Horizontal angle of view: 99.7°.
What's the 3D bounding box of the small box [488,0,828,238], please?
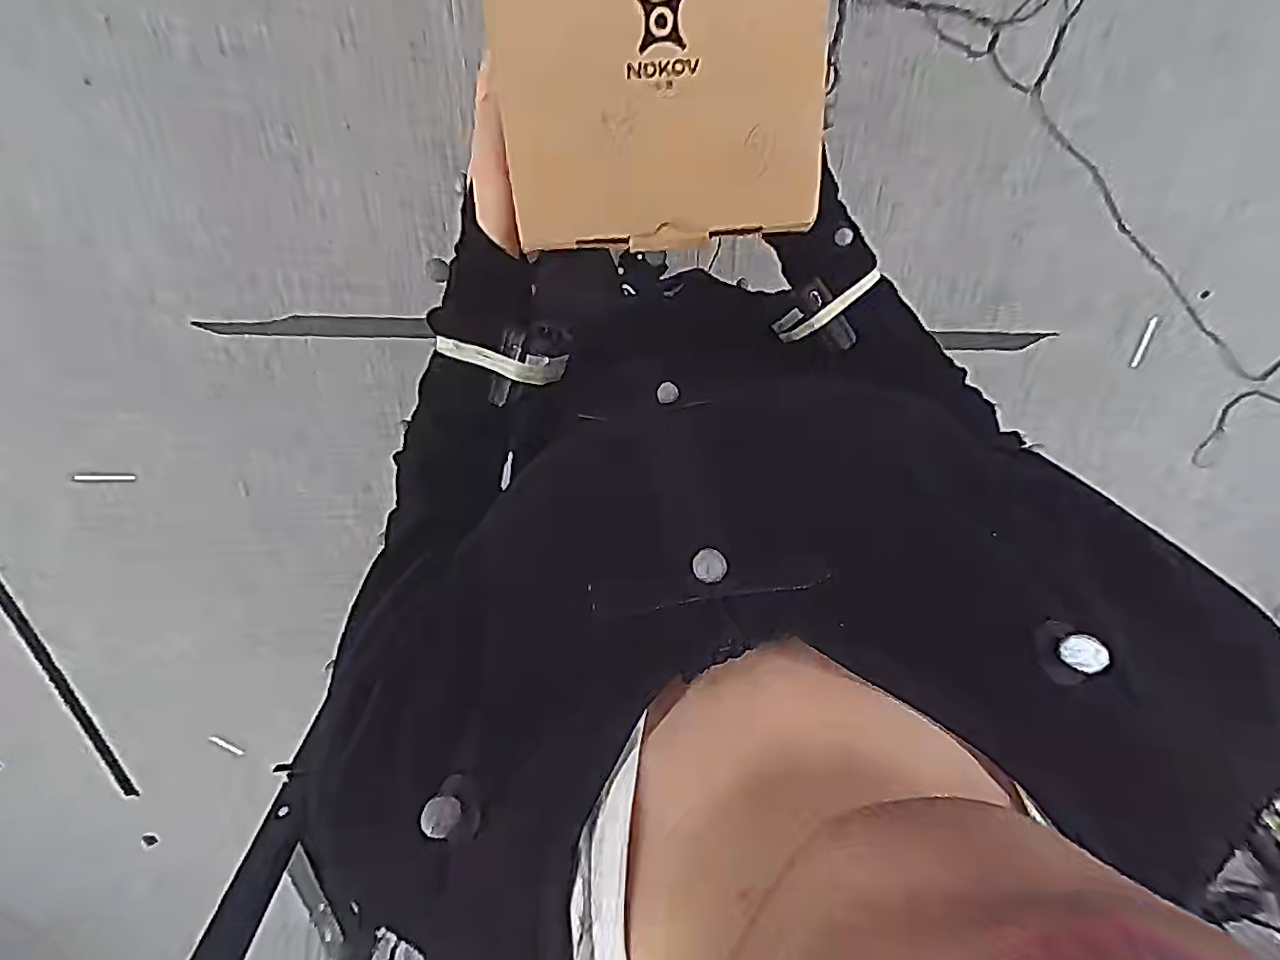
[{"bbox_3d":[0.006,-0.253,0.336,0.168,0.176,0.179,-5,114,-2],"label":"small box"}]
